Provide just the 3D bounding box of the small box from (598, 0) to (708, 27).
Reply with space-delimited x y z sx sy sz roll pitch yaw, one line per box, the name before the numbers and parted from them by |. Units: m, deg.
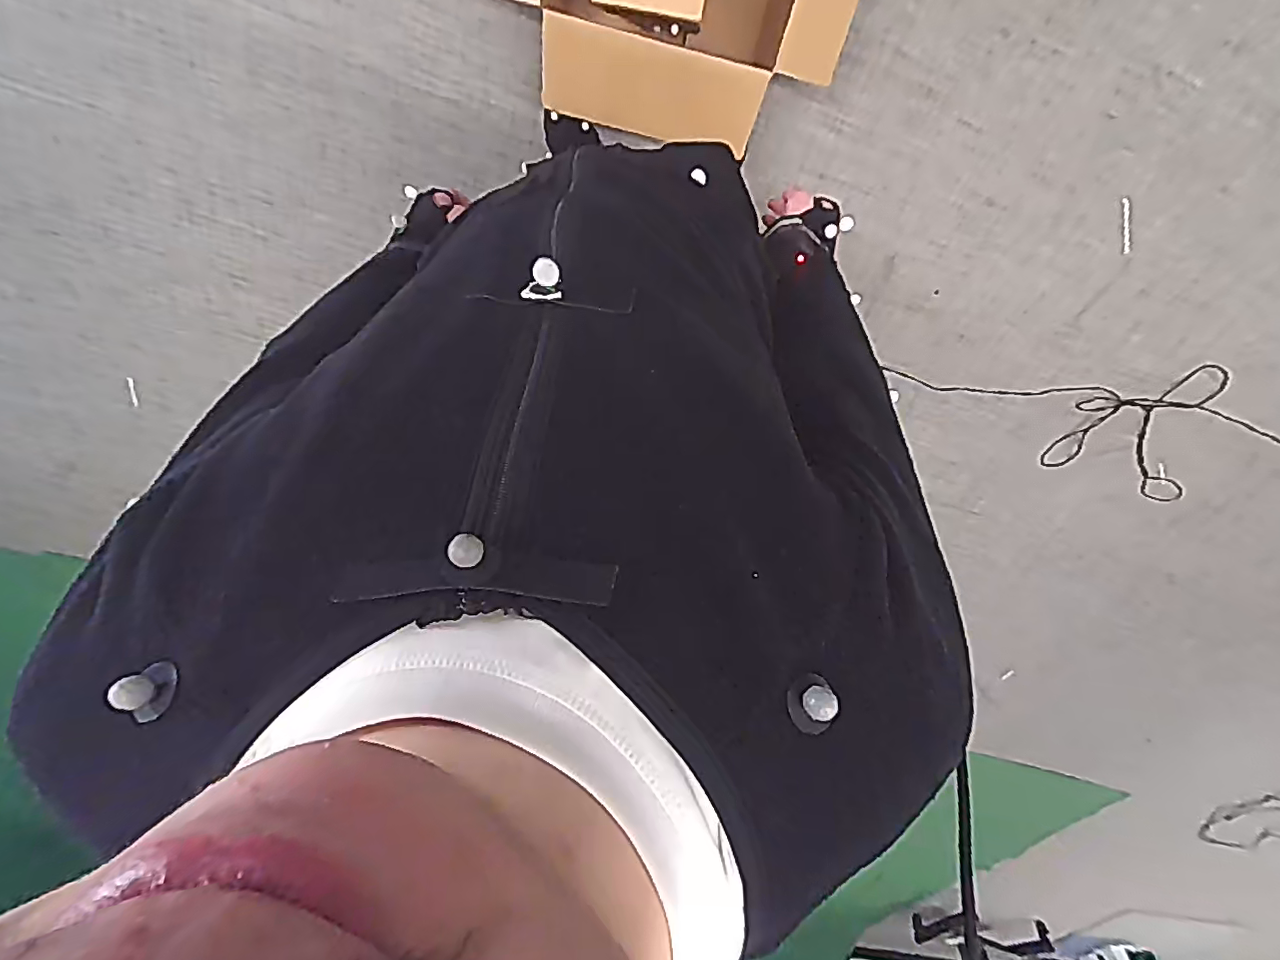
small box | 0.033 -0.844 0.857 0.179 0.176 0.168 12 124 1
